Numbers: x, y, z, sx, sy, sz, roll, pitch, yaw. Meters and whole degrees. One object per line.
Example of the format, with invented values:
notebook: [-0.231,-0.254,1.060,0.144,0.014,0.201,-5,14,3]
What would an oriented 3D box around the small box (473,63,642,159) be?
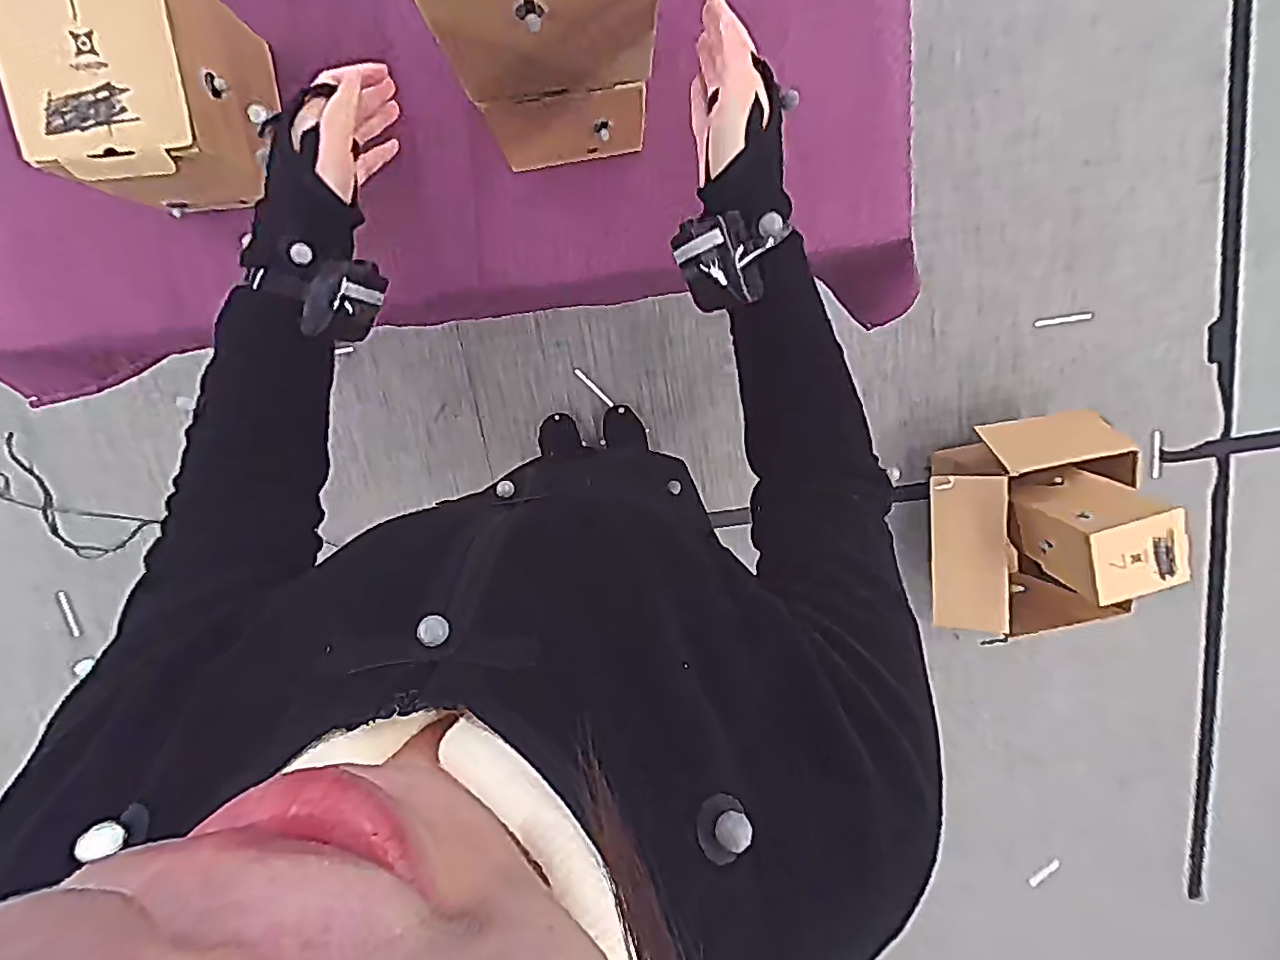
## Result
small box: [-0.090,-0.467,0.577,0.168,0.176,0.179,-9,101,0]

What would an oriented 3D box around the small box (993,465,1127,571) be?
small box: [0.984,0.078,1.283,0.168,0.176,0.179,-29,104,8]

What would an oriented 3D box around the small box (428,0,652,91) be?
small box: [-0.084,-0.435,0.417,0.179,0.176,0.168,-8,103,-1]

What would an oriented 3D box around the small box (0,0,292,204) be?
small box: [-0.510,-0.410,0.576,0.168,0.176,0.179,-6,101,-1]
